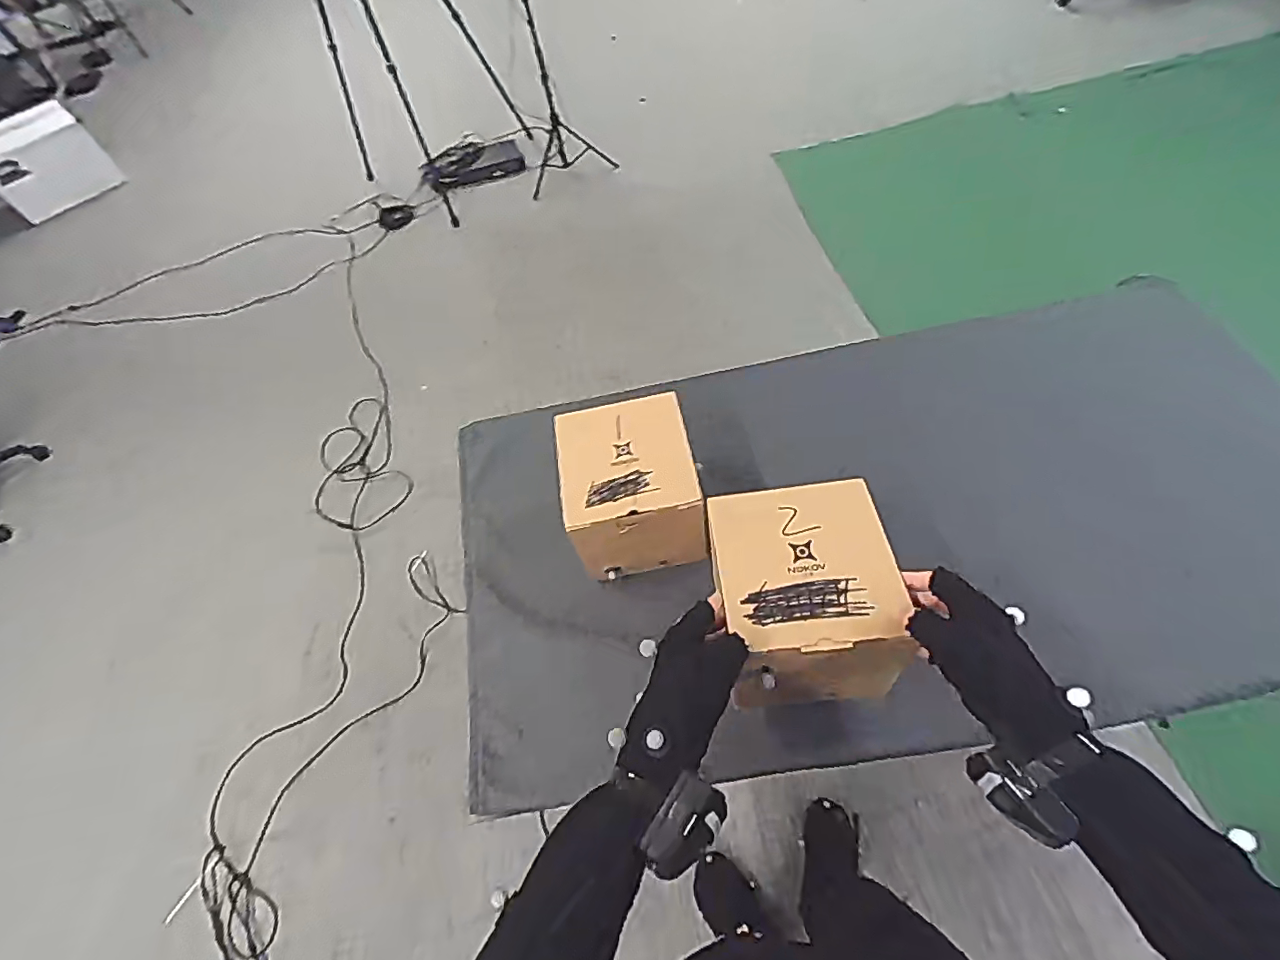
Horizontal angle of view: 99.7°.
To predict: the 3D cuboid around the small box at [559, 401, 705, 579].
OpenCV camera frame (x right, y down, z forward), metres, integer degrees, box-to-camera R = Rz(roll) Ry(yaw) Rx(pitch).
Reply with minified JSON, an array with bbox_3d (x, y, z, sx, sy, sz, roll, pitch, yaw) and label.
[{"bbox_3d":[-0.008,0.023,0.744,0.168,0.176,0.179,-11,56,1],"label":"small box"}]
